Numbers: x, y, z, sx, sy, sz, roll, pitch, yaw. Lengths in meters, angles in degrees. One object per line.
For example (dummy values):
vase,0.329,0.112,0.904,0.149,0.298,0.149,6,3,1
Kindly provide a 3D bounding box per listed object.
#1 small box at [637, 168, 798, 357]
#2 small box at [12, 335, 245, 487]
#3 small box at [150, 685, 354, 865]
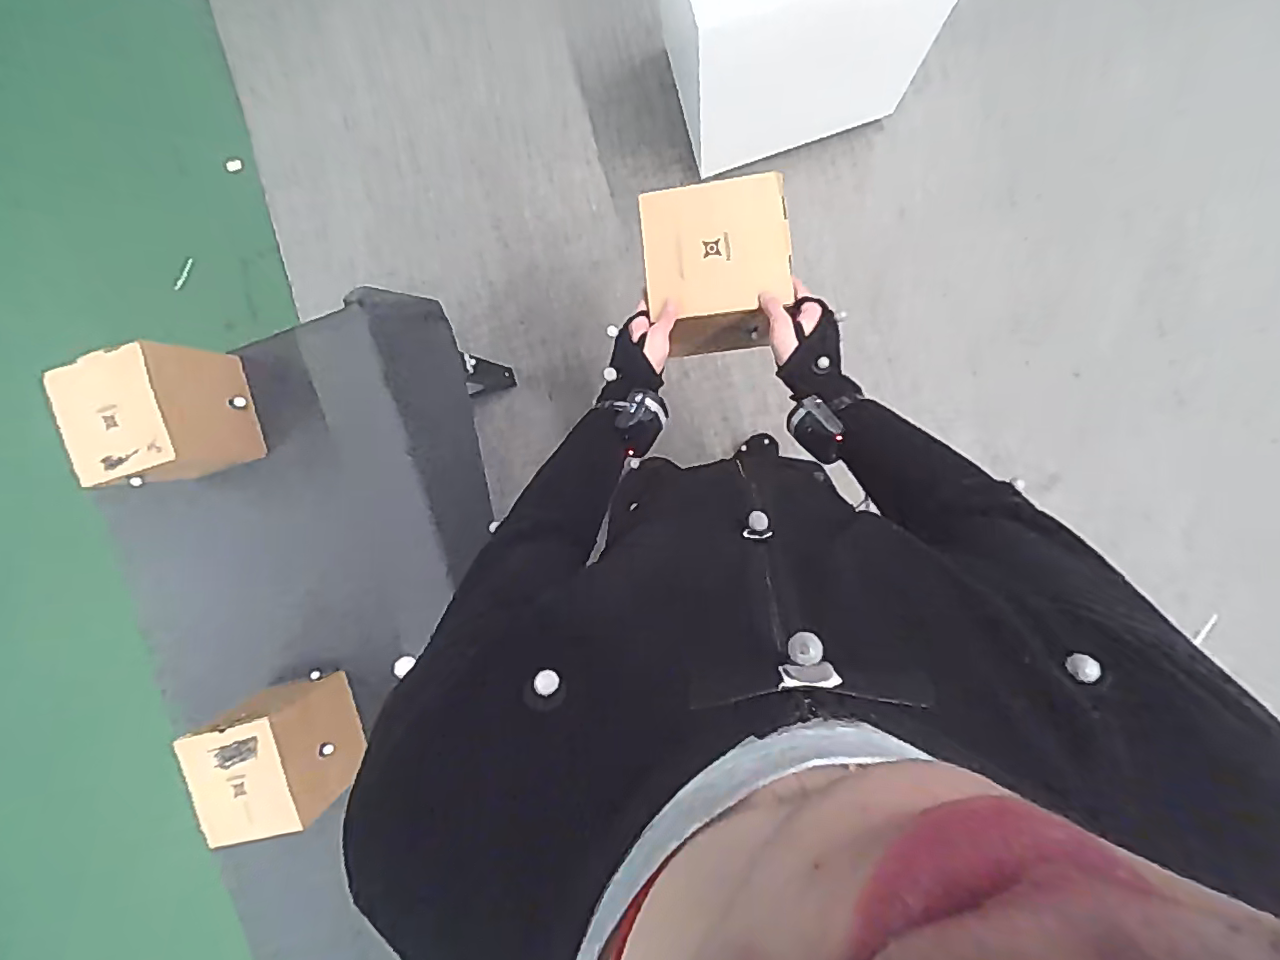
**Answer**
small box,0.098,-0.272,0.715,0.179,0.176,0.168,-6,86,7
small box,-0.747,-0.096,0.809,0.168,0.176,0.179,-15,93,6
small box,-0.582,0.438,0.834,0.168,0.176,0.179,-15,93,7
